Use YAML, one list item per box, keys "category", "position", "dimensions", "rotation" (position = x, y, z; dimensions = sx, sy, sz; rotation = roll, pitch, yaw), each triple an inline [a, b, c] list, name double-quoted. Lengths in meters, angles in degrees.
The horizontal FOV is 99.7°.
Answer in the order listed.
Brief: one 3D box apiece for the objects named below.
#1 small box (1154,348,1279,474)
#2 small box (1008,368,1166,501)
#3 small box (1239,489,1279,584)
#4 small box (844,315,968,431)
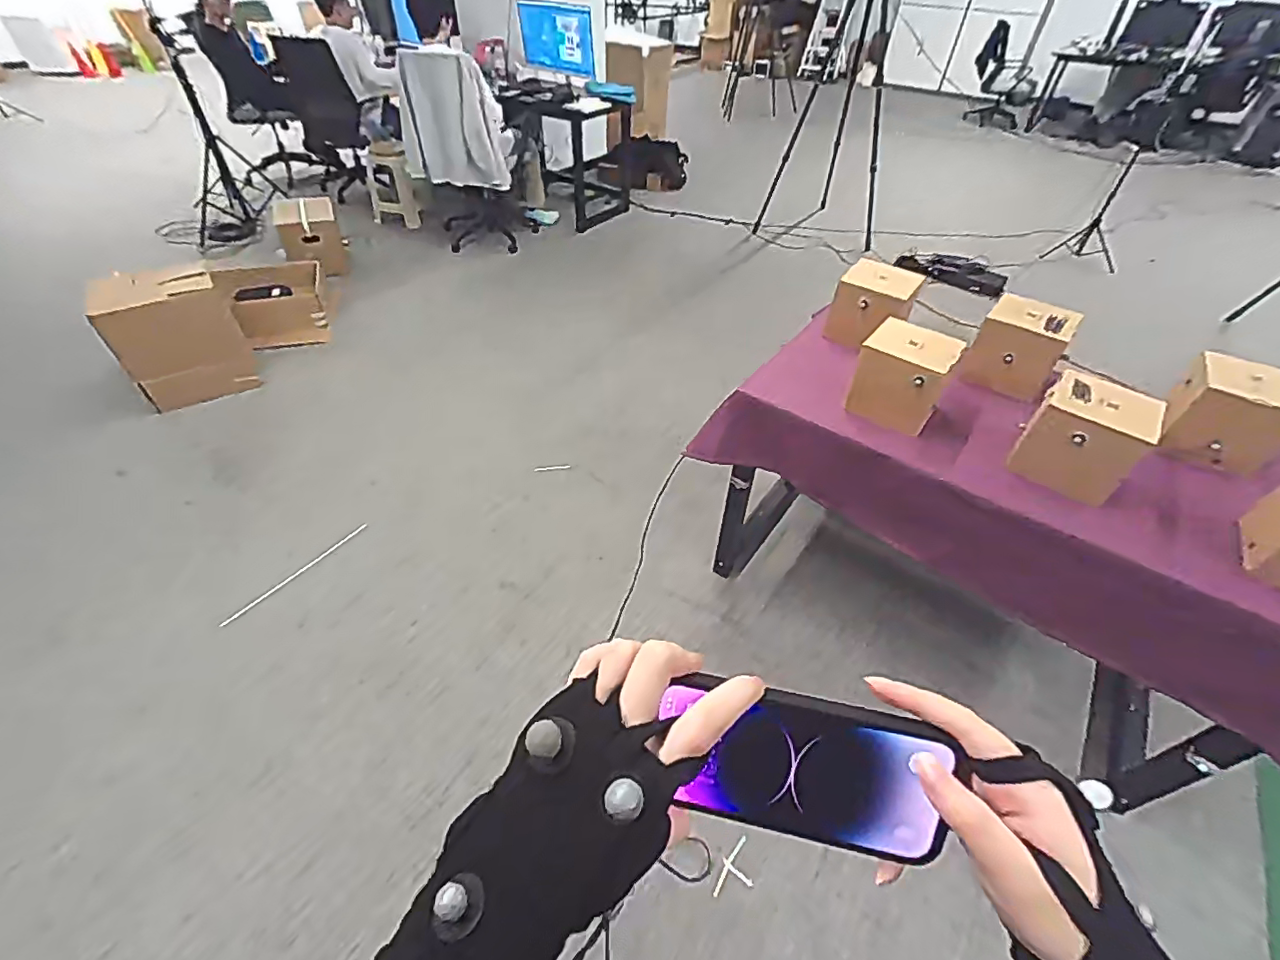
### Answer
- category: "small box"
  position: [1.231, -0.145, 1.141]
  dimensions: [0.168, 0.176, 0.179]
  rotation: [27, 51, 23]
- category: "small box"
  position: [0.876, -0.089, 1.074]
  dimensions: [0.179, 0.176, 0.168]
  rotation: [33, 53, 26]
- category: "small box"
  position: [1.173, 0.096, 0.900]
  dimensions: [0.179, 0.176, 0.168]
  rotation: [29, 50, 24]
- category: "small box"
  position: [0.587, -0.238, 1.211]
  dimensions: [0.179, 0.176, 0.168]
  rotation: [31, 52, 24]
